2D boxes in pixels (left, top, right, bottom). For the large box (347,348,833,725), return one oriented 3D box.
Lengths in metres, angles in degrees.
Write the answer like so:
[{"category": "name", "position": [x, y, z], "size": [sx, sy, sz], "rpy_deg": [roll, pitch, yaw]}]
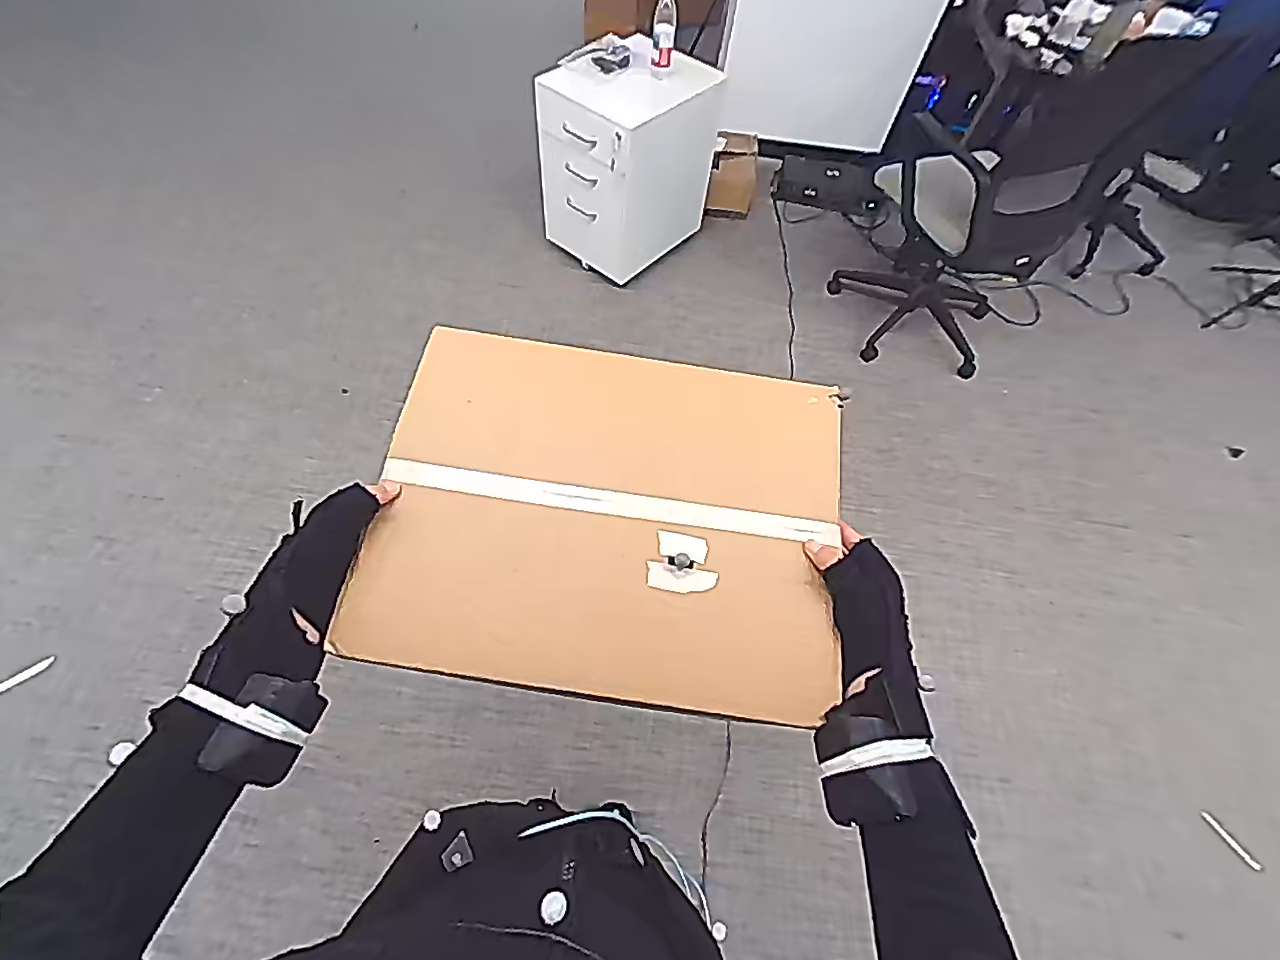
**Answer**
[{"category": "large box", "position": [-0.033, 0.087, 0.627], "size": [0.408, 0.320, 0.320], "rpy_deg": [9, 68, 0]}]
